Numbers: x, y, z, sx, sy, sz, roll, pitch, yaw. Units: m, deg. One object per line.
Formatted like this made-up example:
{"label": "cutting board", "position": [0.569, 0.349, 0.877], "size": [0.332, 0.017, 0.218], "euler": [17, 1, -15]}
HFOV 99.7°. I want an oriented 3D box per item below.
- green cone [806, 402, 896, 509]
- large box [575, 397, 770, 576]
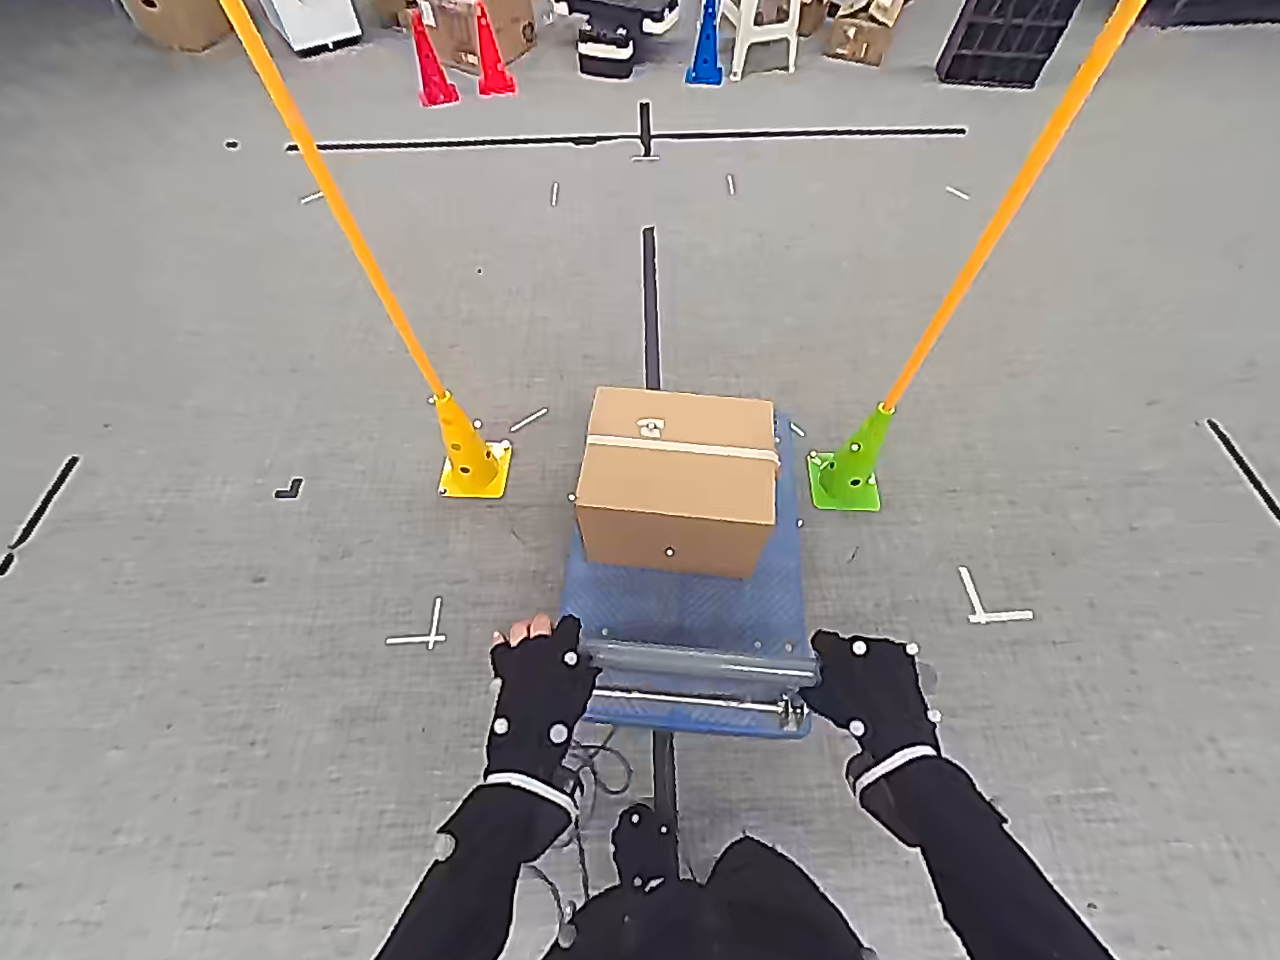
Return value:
{"label": "green cone", "position": [0.622, -0.087, 1.520], "size": [0.202, 0.368, 0.200], "euler": [2, 59, 1]}
{"label": "large box", "position": [0.083, 0.025, 1.293], "size": [0.408, 0.320, 0.320], "euler": [5, 60, 4]}
